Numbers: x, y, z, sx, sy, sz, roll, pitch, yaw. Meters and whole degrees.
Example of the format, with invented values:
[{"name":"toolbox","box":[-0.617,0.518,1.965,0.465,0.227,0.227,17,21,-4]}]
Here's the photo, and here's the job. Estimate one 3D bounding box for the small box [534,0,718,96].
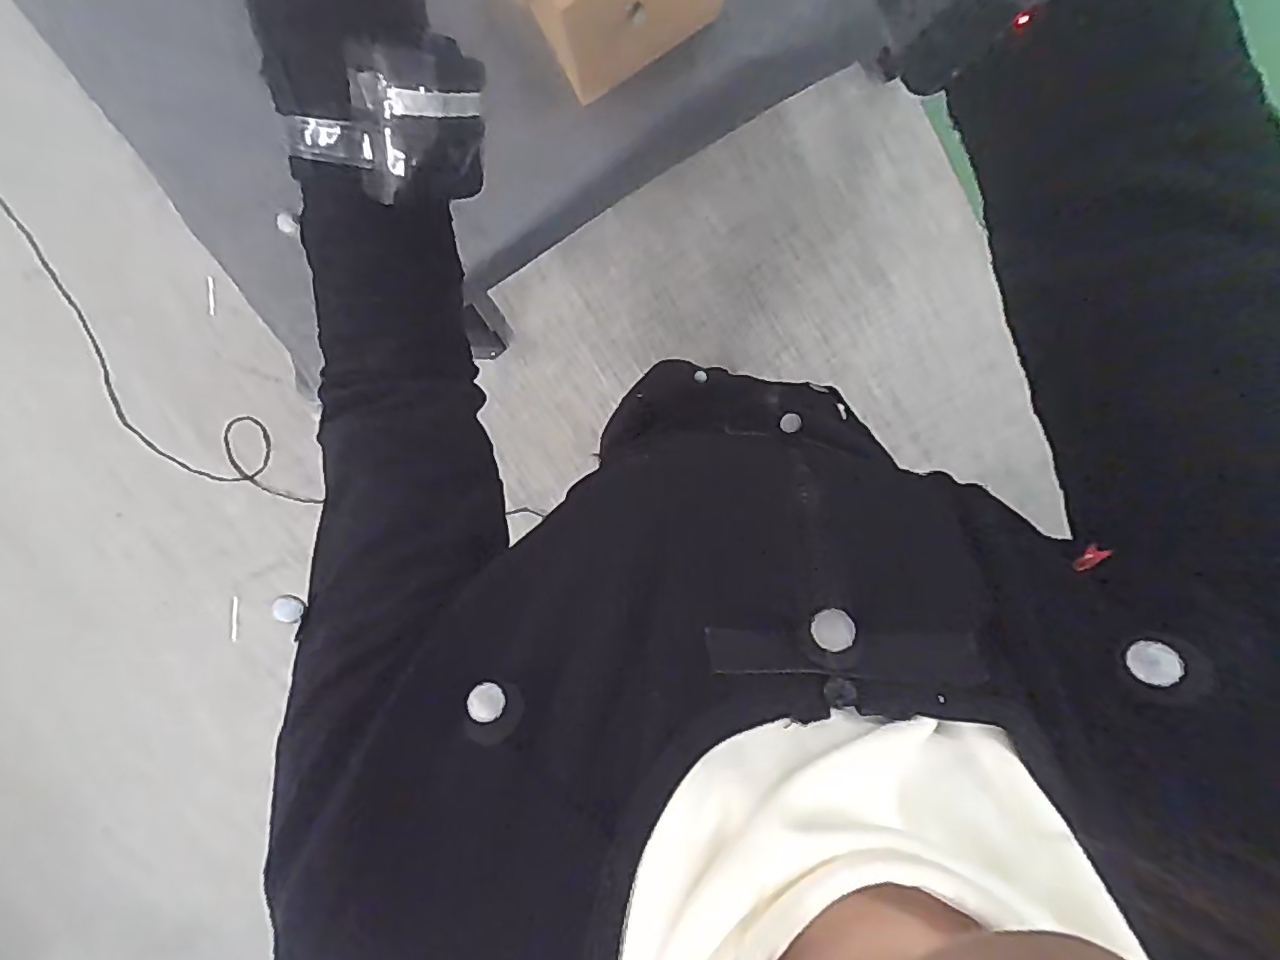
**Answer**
[{"name":"small box","box":[-0.029,-0.510,0.499,0.179,0.176,0.168,-29,99,9]}]
